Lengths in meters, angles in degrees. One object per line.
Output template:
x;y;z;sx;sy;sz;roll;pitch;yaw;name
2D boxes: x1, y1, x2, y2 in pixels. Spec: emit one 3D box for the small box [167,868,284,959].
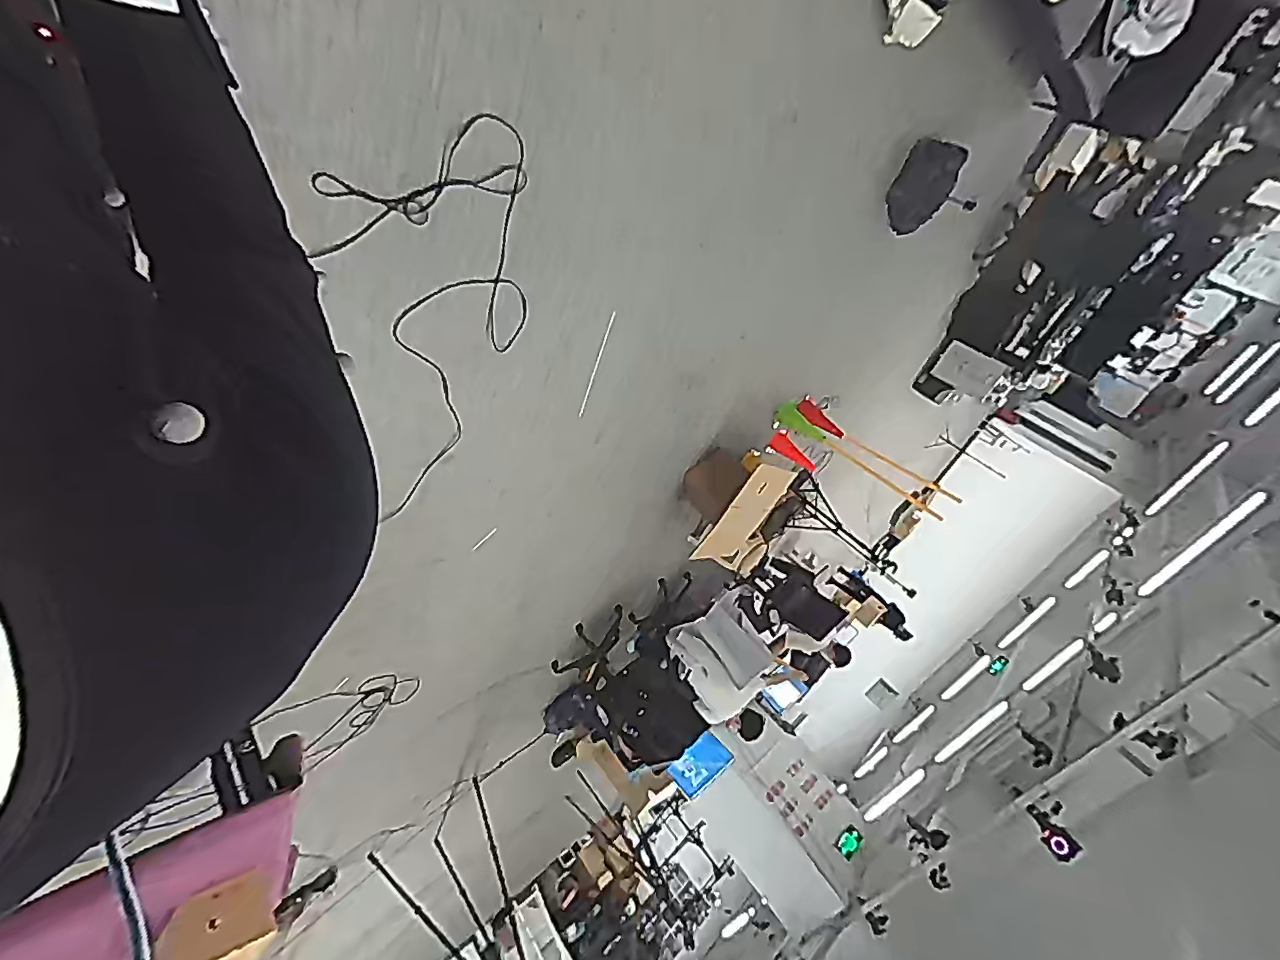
-1.027;1.107;1.335;0.179;0.176;0.168;-53;151;14;small box
